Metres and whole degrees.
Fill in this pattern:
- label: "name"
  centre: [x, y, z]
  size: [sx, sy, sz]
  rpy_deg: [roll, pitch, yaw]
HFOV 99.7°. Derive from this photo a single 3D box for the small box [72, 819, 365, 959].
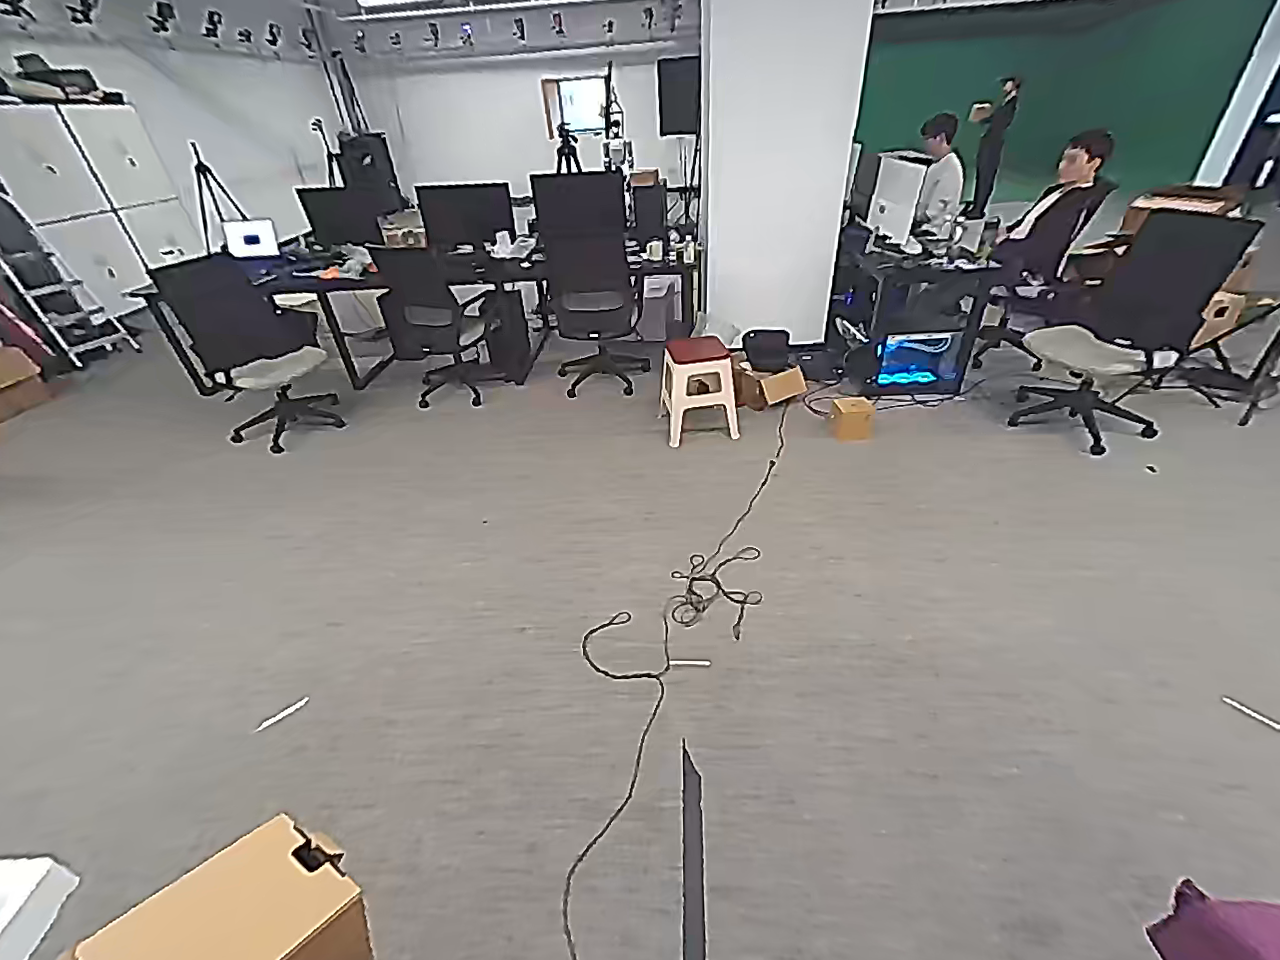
- label: "small box"
  centre: [-0.385, 0.489, 0.517]
  size: [0.168, 0.176, 0.179]
  rpy_deg: [10, 16, 32]
